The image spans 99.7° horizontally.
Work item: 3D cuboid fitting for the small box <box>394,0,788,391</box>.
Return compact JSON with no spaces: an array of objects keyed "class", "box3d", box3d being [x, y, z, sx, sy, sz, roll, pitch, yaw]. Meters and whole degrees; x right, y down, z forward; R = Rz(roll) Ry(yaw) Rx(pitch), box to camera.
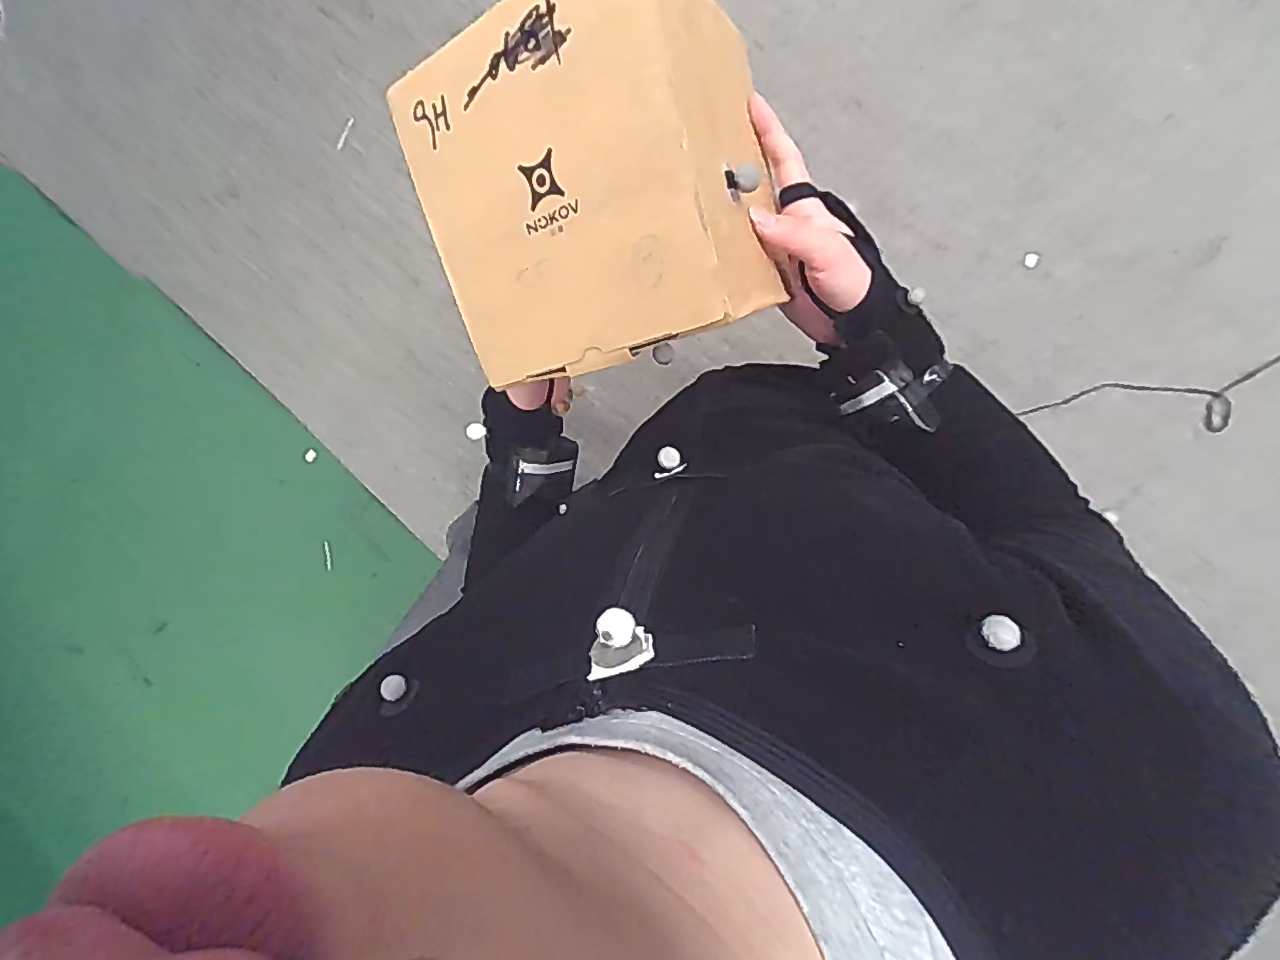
[{"class":"small box","box3d":[-0.012,-0.177,0.356,0.168,0.176,0.179,-9,107,30]}]
